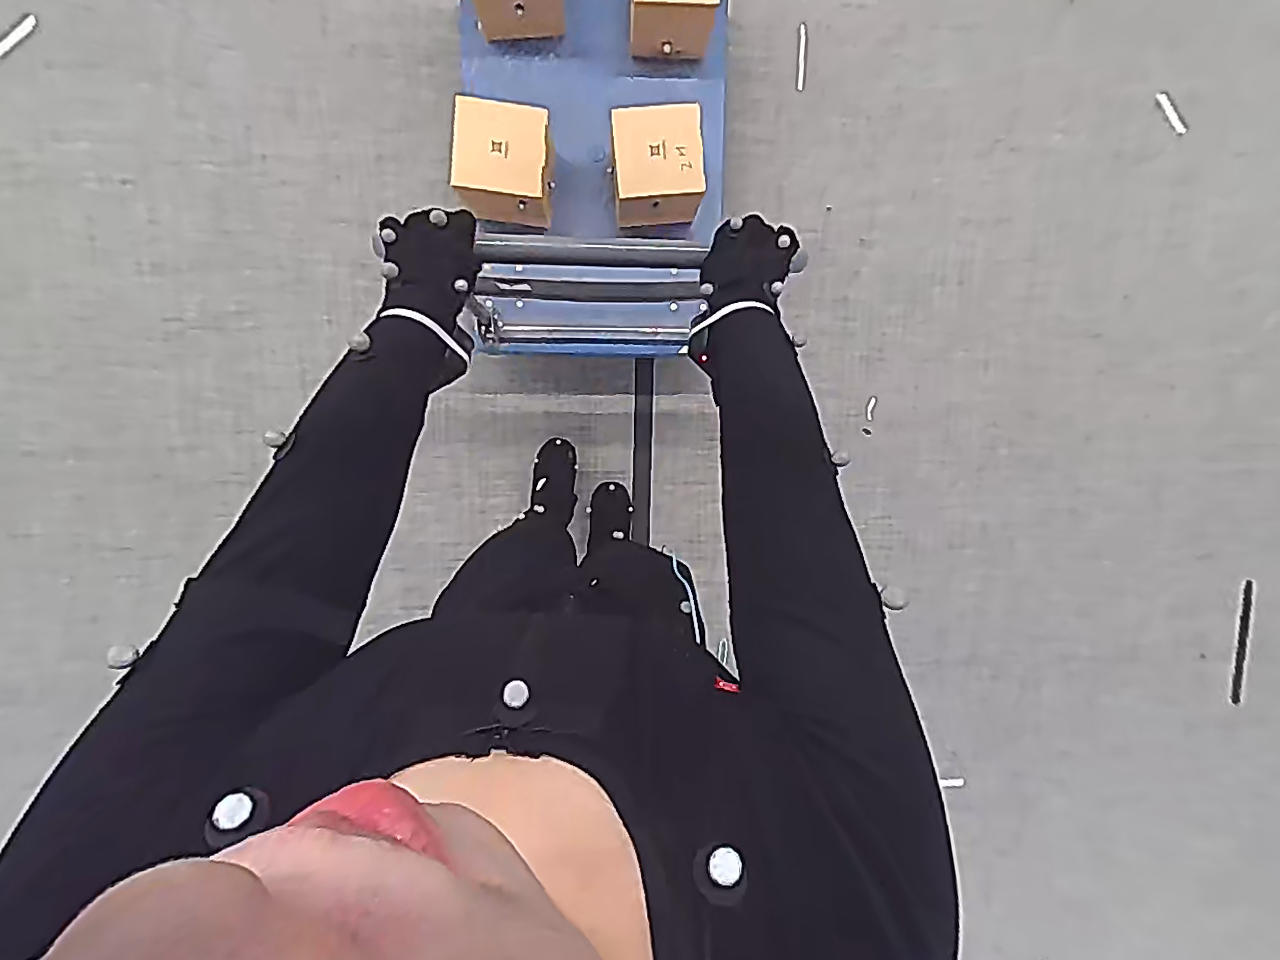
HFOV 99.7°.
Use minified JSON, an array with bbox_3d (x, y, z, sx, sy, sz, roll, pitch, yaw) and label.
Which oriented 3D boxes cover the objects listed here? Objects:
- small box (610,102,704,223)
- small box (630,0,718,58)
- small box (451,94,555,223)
[{"bbox_3d":[0.032,-0.655,1.134,0.179,0.176,0.168,-6,98,-3],"label":"small box"},{"bbox_3d":[0.064,-1.004,1.092,0.168,0.176,0.179,0,98,-3],"label":"small box"},{"bbox_3d":[-0.275,-0.652,1.117,0.179,0.176,0.168,5,96,-6],"label":"small box"}]
